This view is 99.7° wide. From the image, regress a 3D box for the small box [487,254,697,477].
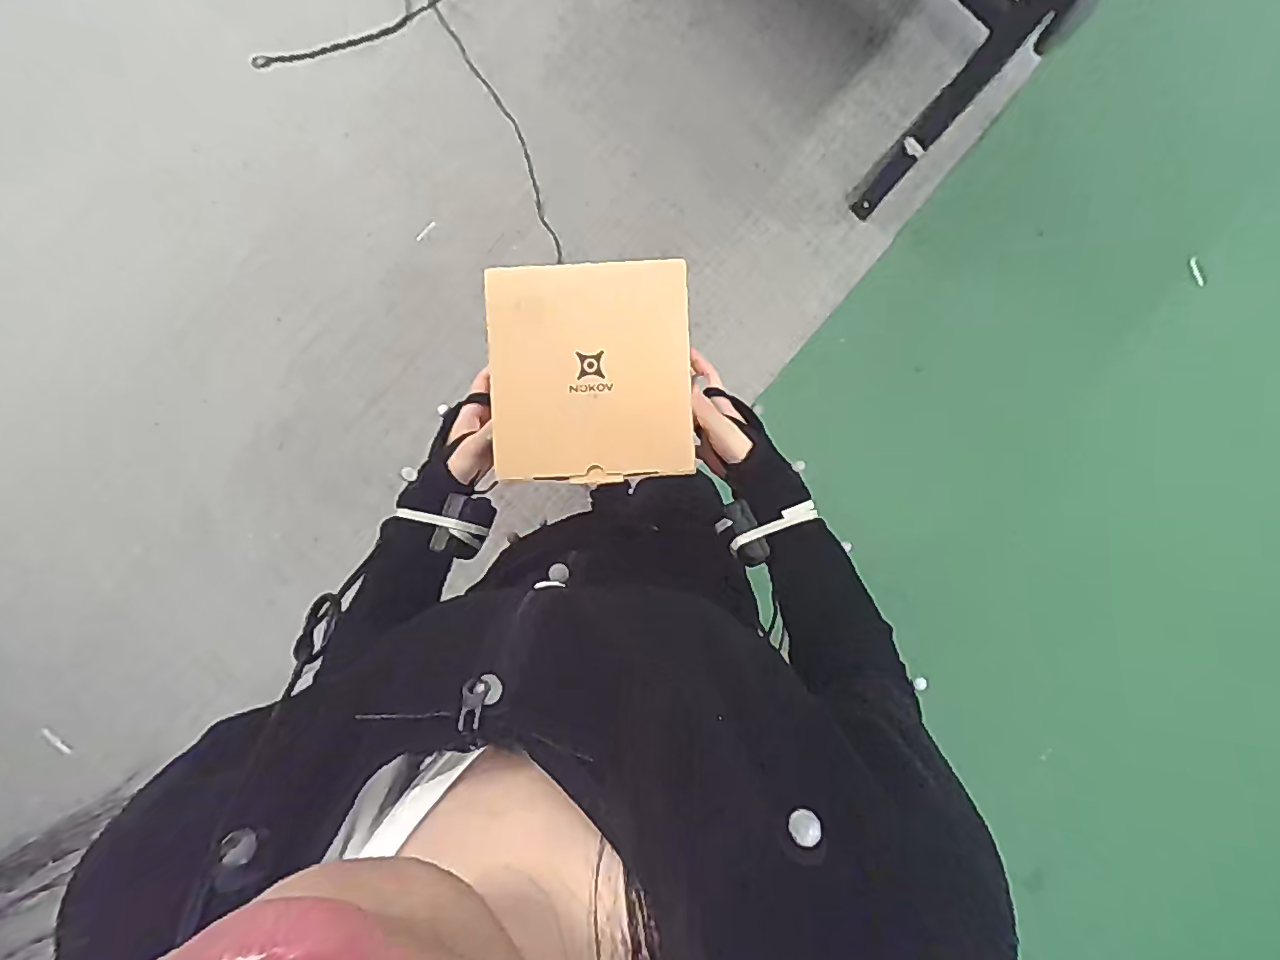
[{"bbox_3d":[-0.040,-0.093,0.512,0.168,0.176,0.179,-3,92,-1],"label":"small box"}]
